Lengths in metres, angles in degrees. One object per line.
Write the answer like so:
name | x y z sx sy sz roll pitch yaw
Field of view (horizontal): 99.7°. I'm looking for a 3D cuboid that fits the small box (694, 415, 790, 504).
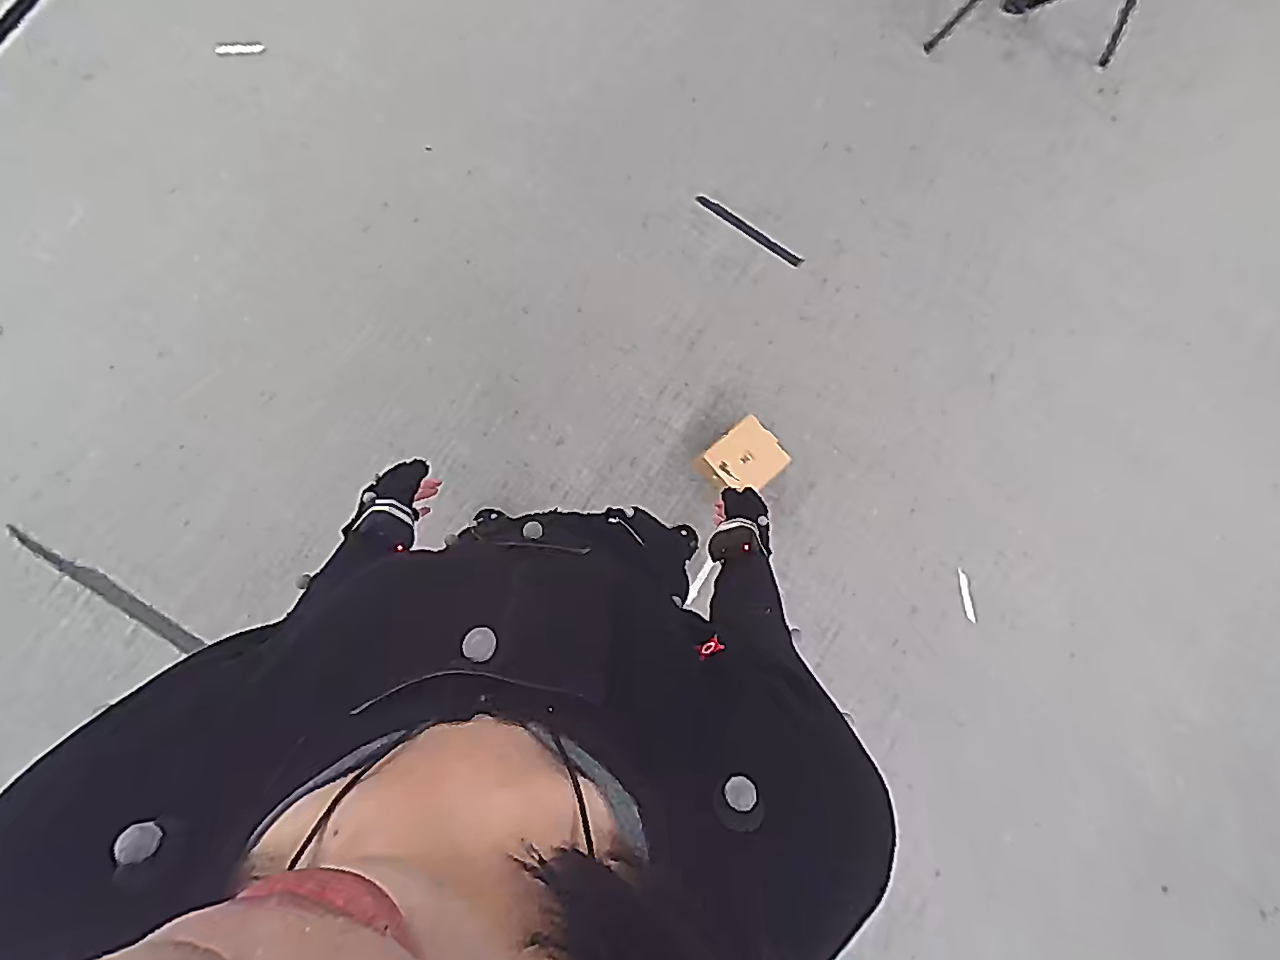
small box | 0.271 -0.052 1.483 0.179 0.176 0.168 -41 91 -6
